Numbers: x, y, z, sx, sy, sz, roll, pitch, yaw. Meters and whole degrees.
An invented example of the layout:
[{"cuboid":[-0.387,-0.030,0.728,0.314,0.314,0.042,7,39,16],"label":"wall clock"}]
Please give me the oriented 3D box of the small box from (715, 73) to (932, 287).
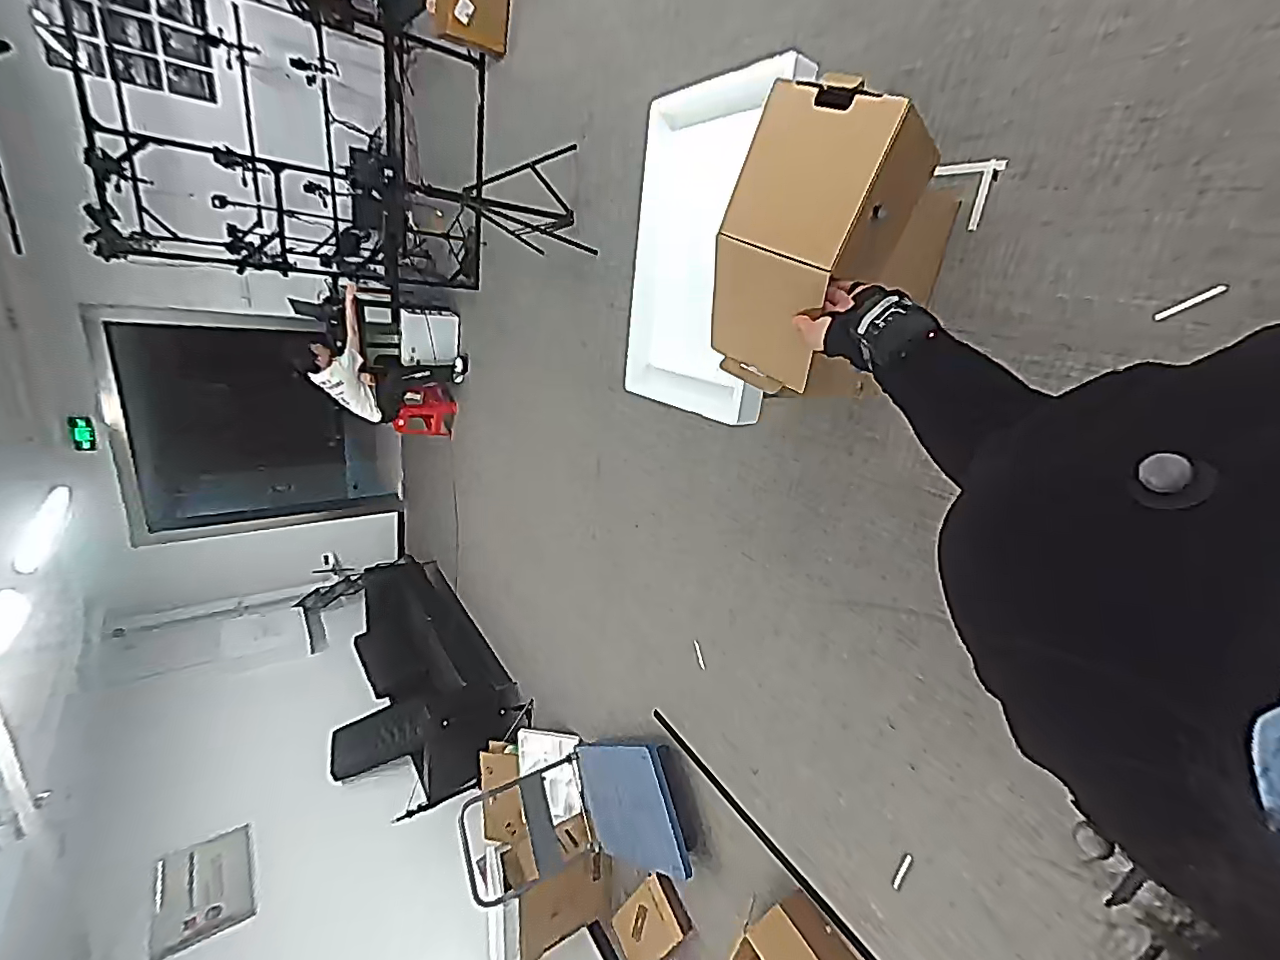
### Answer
[{"cuboid":[0.228,-0.354,0.665,0.168,0.176,0.179,35,117,29],"label":"small box"}]
